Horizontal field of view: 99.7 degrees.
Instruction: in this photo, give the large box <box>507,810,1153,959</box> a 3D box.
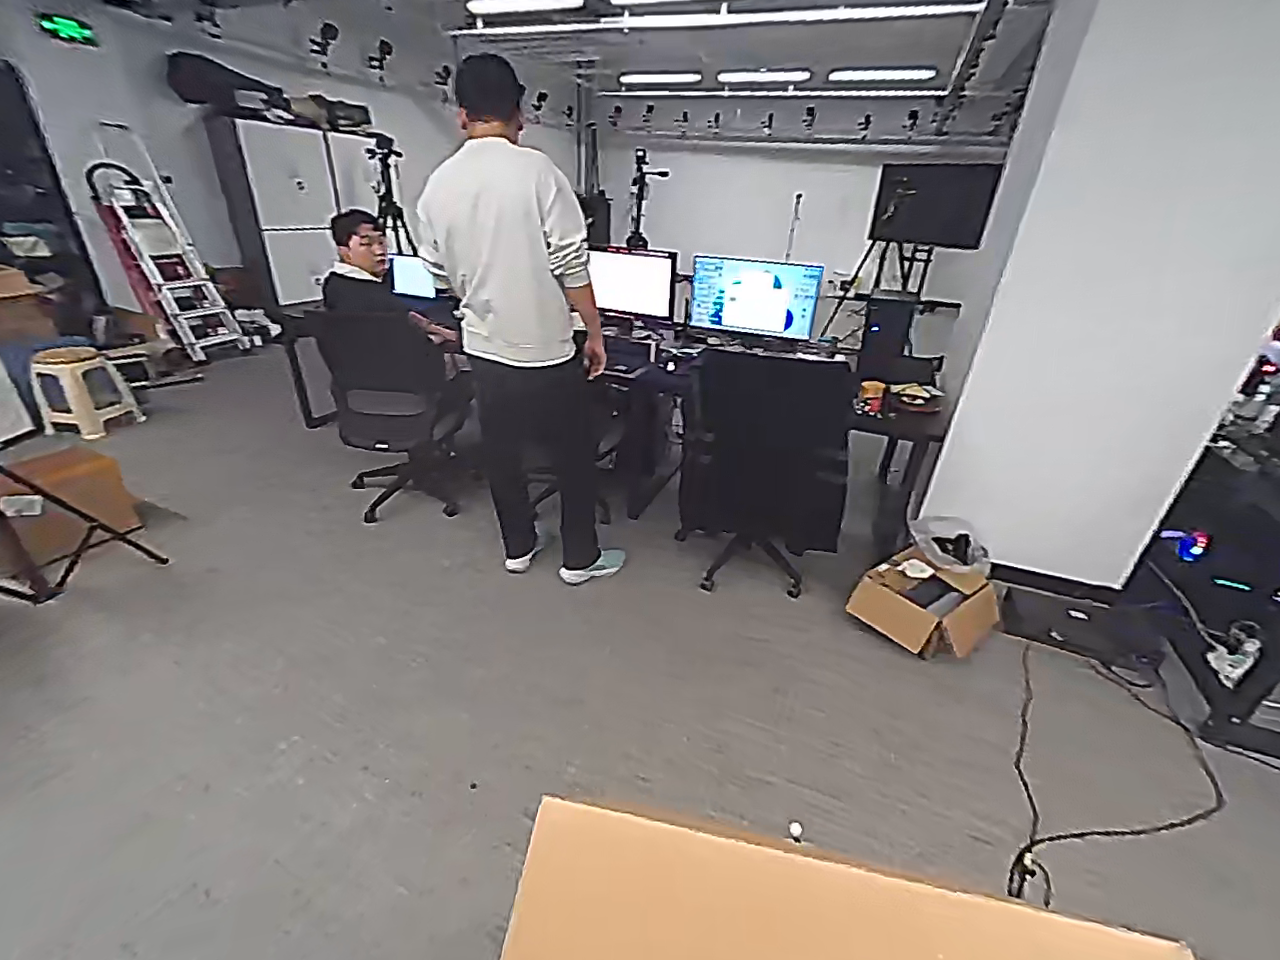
[{"bbox_3d":[0.107,0.467,0.421,0.408,0.320,0.320,6,62,9],"label":"large box"}]
